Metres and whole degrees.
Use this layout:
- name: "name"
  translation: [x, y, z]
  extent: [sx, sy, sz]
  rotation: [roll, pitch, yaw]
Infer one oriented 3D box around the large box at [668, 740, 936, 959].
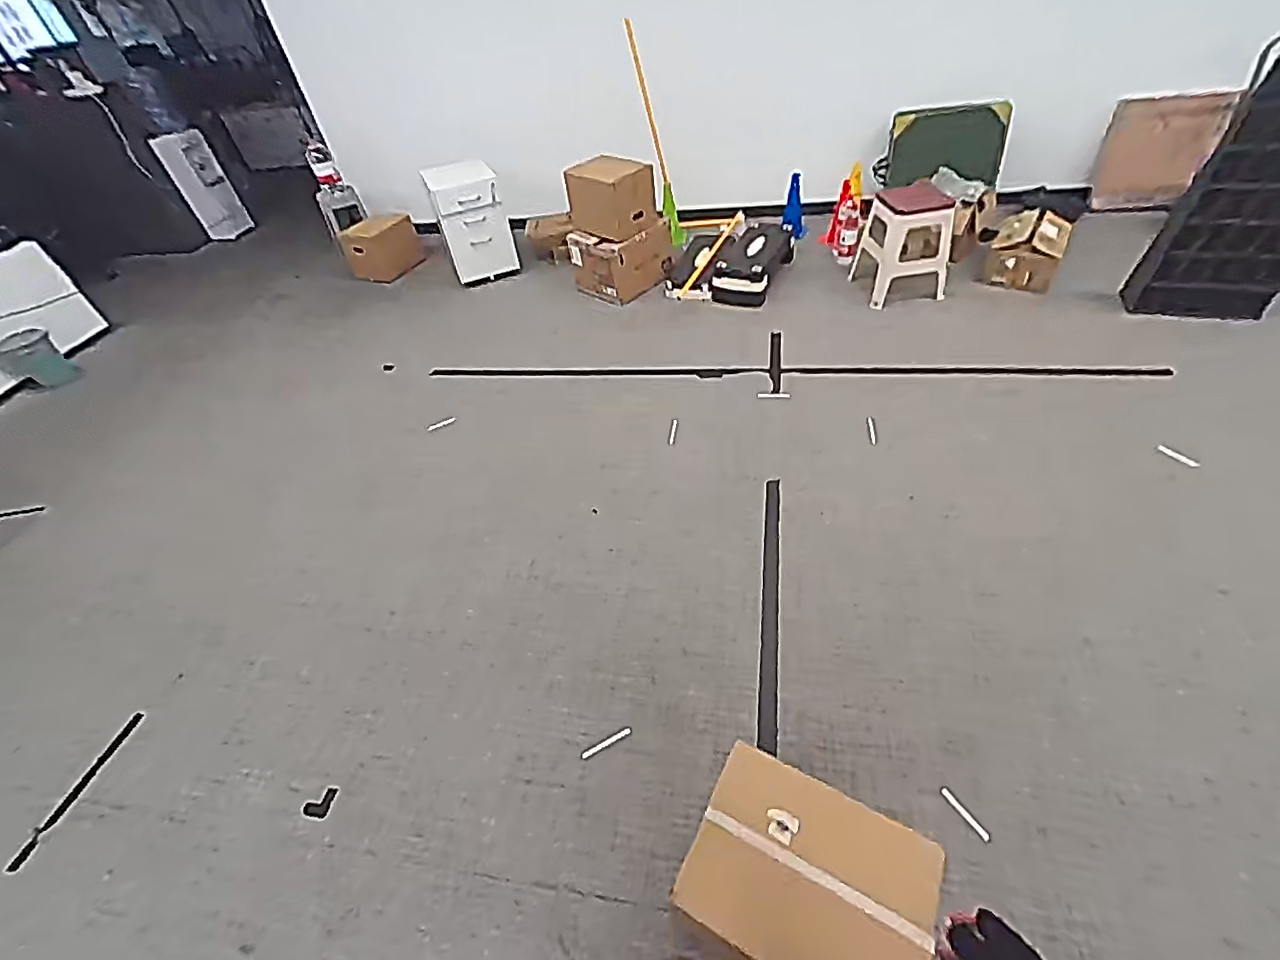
- name: "large box"
  translation: [0.310, 0.804, 1.071]
  extent: [0.408, 0.320, 0.320]
  rotation: [18, 48, 25]
